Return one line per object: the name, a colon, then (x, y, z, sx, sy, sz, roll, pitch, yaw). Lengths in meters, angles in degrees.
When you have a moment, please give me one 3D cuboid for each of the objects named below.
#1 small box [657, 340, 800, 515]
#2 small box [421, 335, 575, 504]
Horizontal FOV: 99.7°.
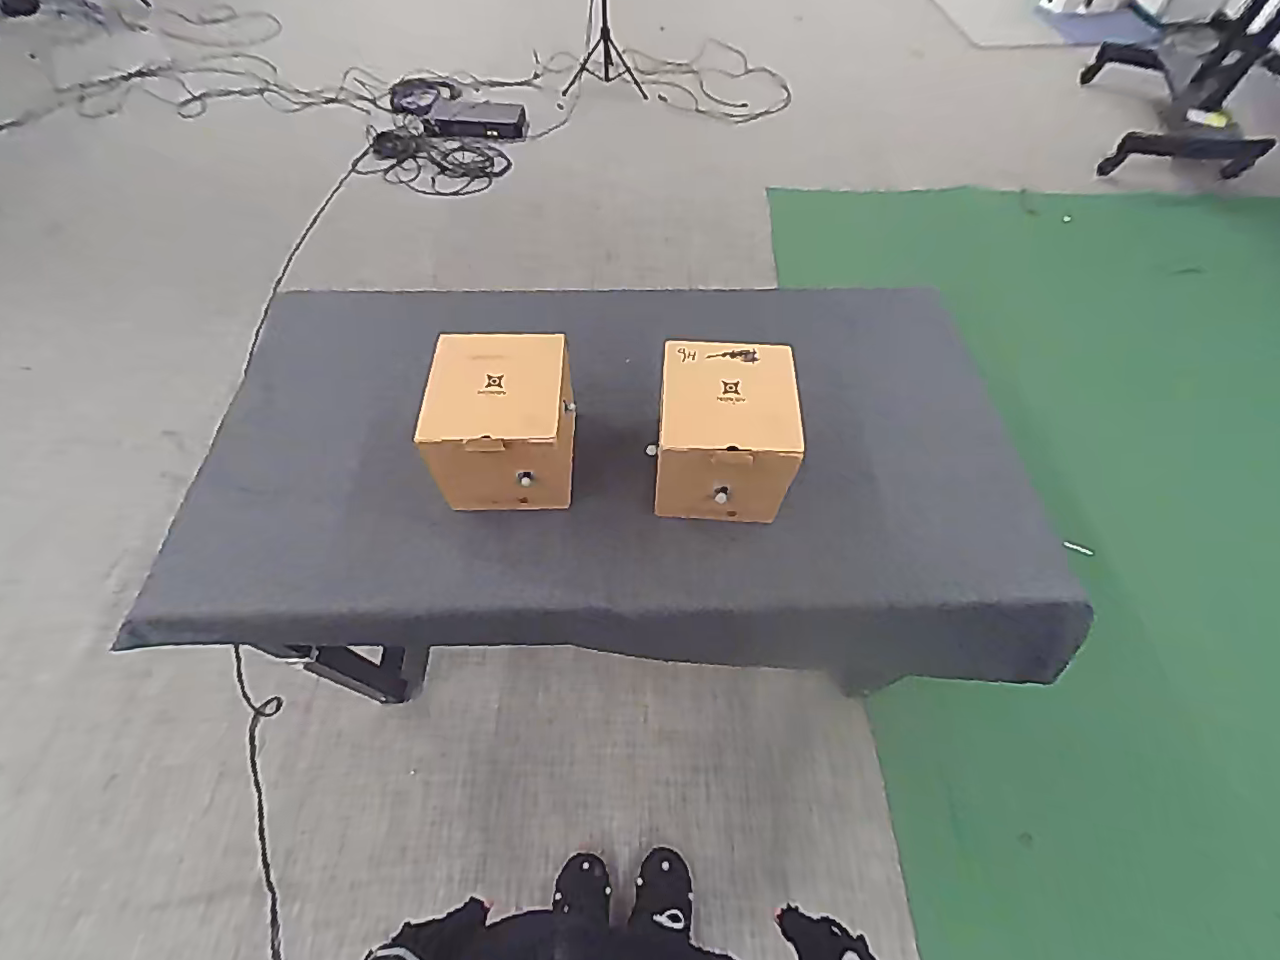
small box: (0.110, -0.066, 0.736, 0.168, 0.176, 0.179, 3, 59, 1)
small box: (-0.179, -0.077, 0.743, 0.168, 0.176, 0.179, -1, 57, -2)
